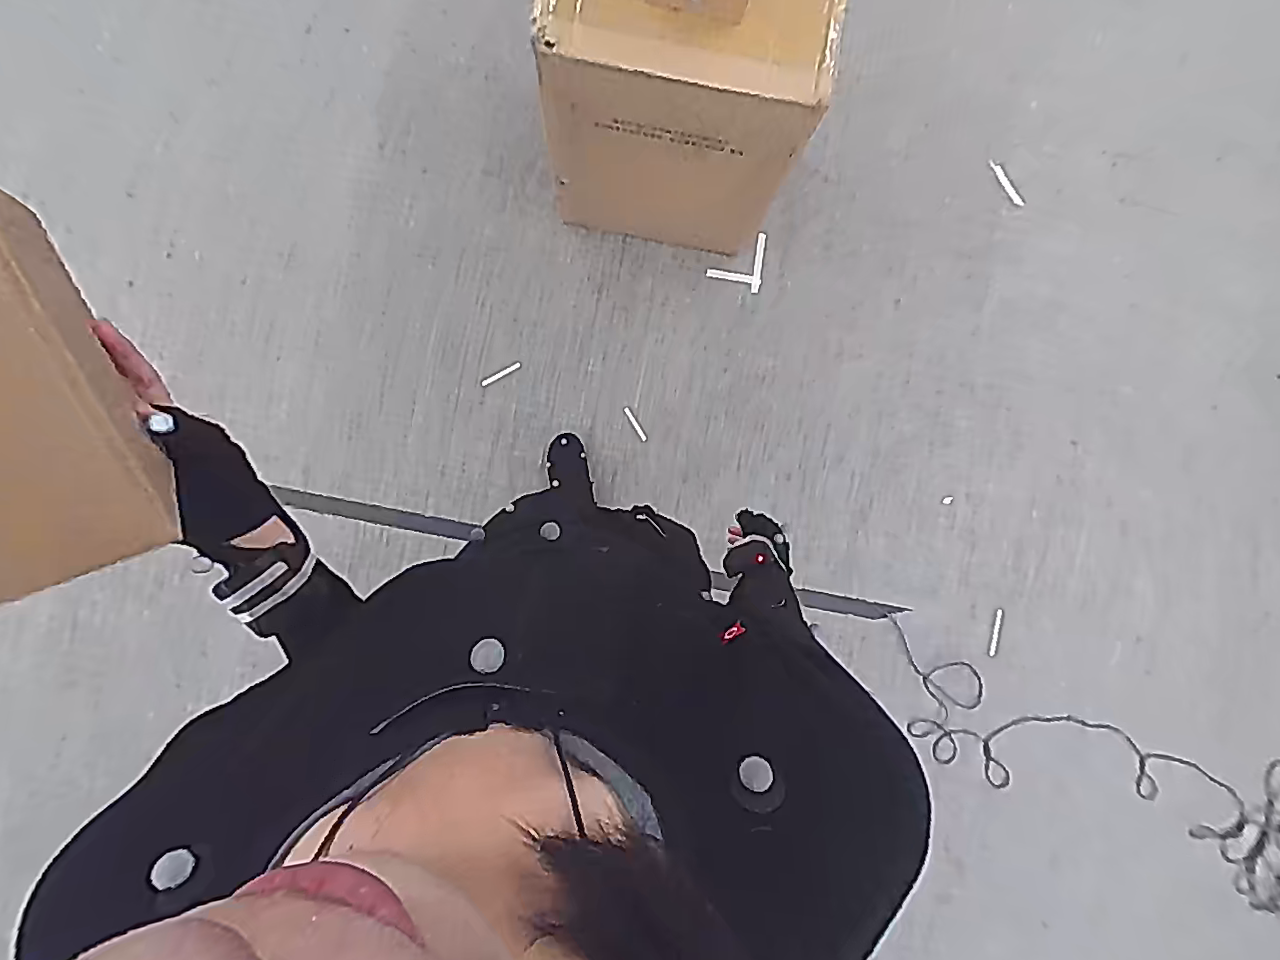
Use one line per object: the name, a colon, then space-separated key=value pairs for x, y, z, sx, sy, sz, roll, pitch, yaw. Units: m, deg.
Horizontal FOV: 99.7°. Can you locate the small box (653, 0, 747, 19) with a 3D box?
small box: x=0.110 y=-0.866 z=0.829 sx=0.179 sy=0.176 sz=0.168 roll=10 pitch=90 yaw=-4

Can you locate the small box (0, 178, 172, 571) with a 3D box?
small box: x=-0.354 y=-0.047 z=0.243 sx=0.168 sy=0.179 sz=0.176 roll=-28 pitch=121 yaw=-32
